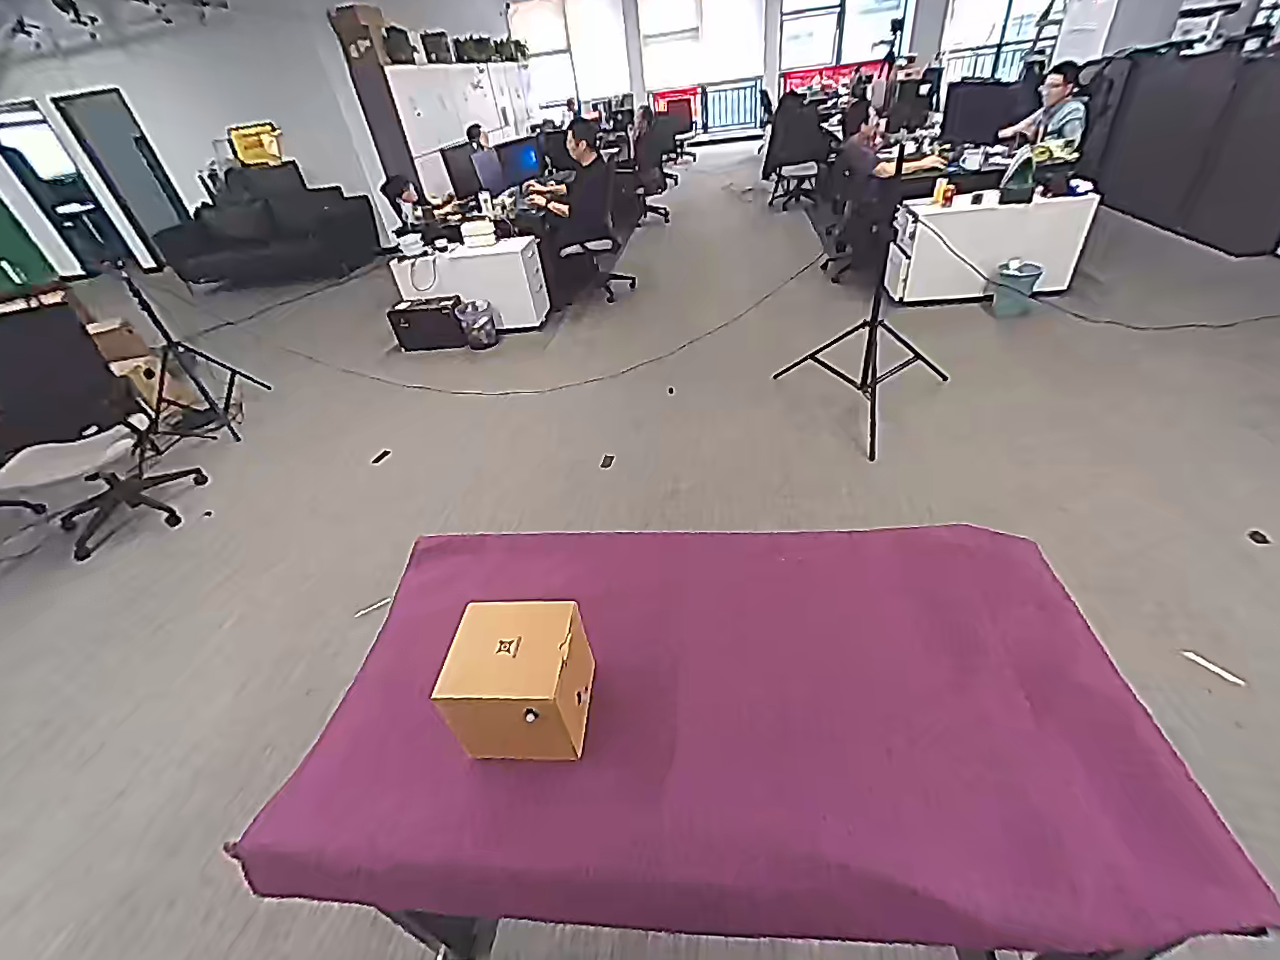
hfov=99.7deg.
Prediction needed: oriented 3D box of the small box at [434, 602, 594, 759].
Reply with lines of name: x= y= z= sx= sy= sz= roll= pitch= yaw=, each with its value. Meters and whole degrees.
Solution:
small box: x=-0.177 y=0.305 z=0.824 sx=0.179 sy=0.176 sz=0.168 roll=-3 pitch=37 yaw=6
